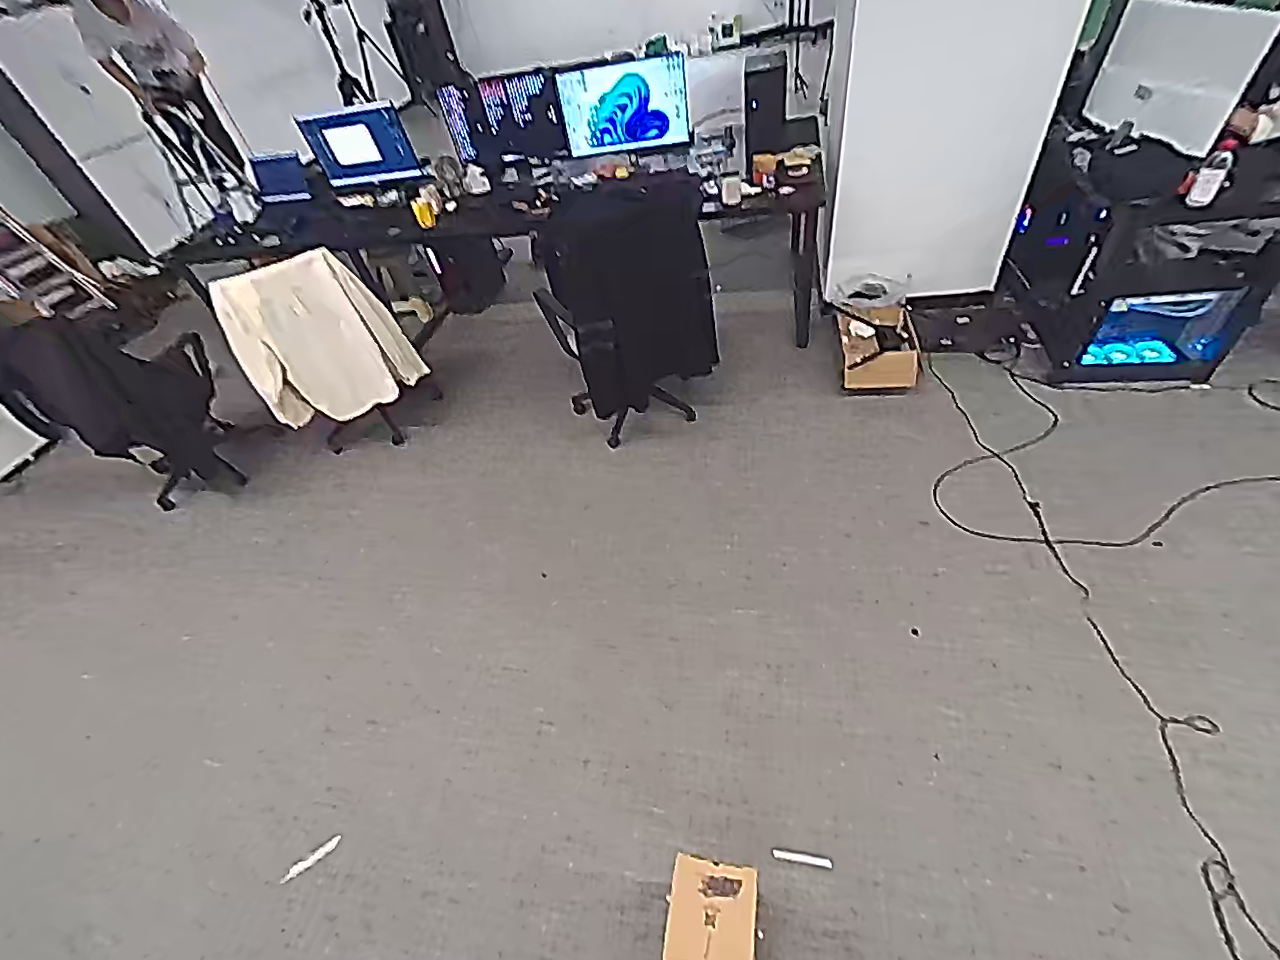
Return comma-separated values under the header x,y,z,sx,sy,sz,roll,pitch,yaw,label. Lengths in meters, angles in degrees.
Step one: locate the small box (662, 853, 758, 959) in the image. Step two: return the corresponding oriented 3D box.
x,y,z,sx,sy,sz,roll,pitch,yaw,label
0.146,0.883,1.083,0.168,0.176,0.179,2,47,15,small box
